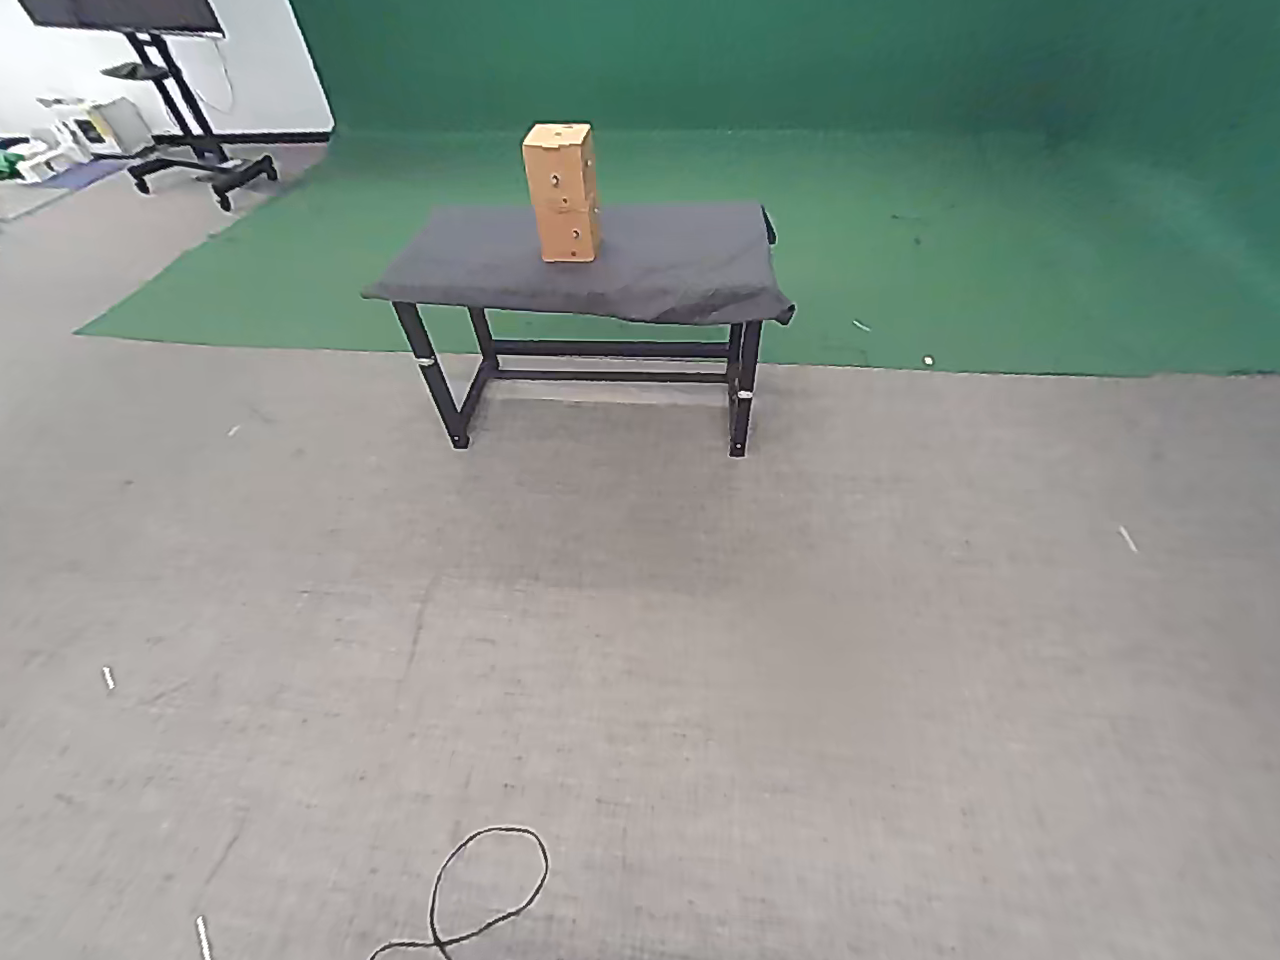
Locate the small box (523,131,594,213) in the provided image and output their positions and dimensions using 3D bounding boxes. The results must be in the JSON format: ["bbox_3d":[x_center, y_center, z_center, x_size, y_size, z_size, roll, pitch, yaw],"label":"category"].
[{"bbox_3d":[-0.233,-0.909,1.601,0.168,0.176,0.179,4,50,4],"label":"small box"}]

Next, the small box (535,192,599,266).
[{"bbox_3d":[-0.225,-0.796,1.720,0.168,0.176,0.179,2,48,3],"label":"small box"}]
